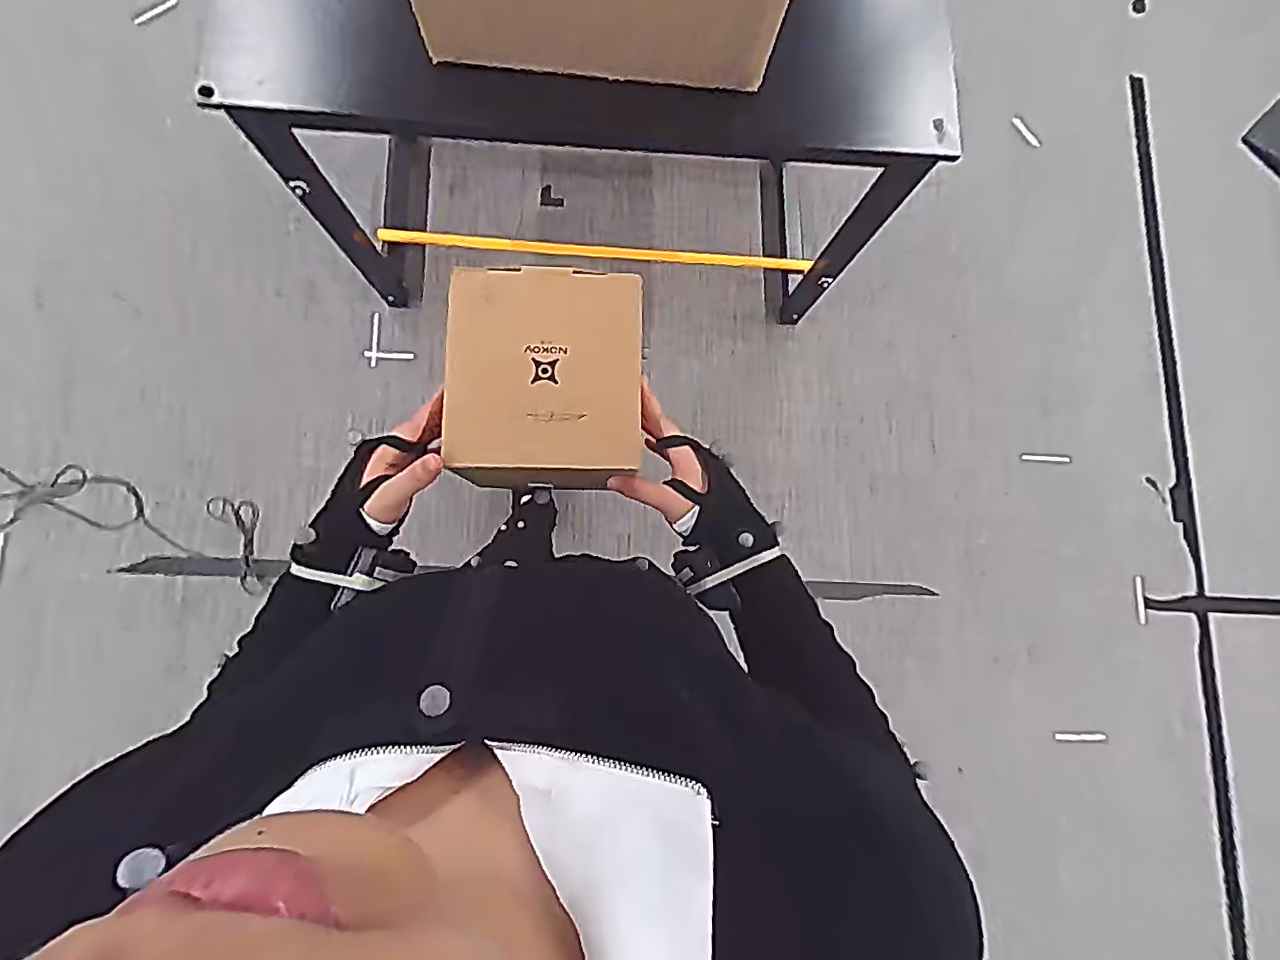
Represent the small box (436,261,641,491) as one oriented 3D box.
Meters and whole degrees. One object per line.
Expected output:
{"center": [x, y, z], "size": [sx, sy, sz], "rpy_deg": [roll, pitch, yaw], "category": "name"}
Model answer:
{"center": [-0.089, -0.088, 0.532], "size": [0.168, 0.176, 0.179], "rpy_deg": [1, 82, -4], "category": "small box"}
